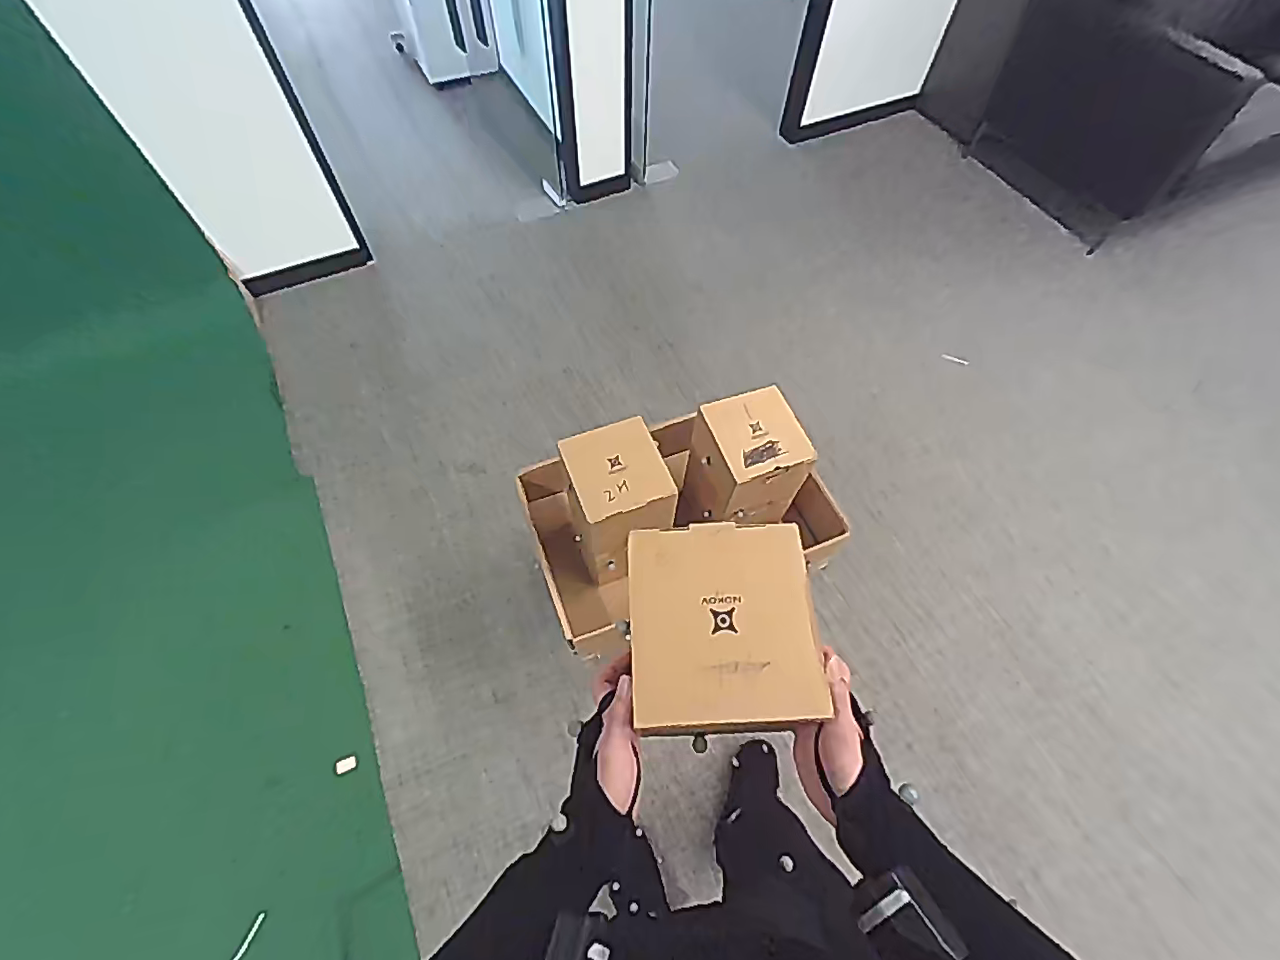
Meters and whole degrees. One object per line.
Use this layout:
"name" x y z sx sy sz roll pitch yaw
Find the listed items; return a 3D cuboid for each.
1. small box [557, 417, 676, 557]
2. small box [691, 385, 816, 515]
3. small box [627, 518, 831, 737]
"small box" -0.045 0.017 1.007 0.168 0.176 0.179 -19 62 -11
"small box" 0.210 -0.049 1.052 0.168 0.176 0.179 -17 62 -11
"small box" 0.070 0.152 0.540 0.168 0.176 0.179 -2 61 0
